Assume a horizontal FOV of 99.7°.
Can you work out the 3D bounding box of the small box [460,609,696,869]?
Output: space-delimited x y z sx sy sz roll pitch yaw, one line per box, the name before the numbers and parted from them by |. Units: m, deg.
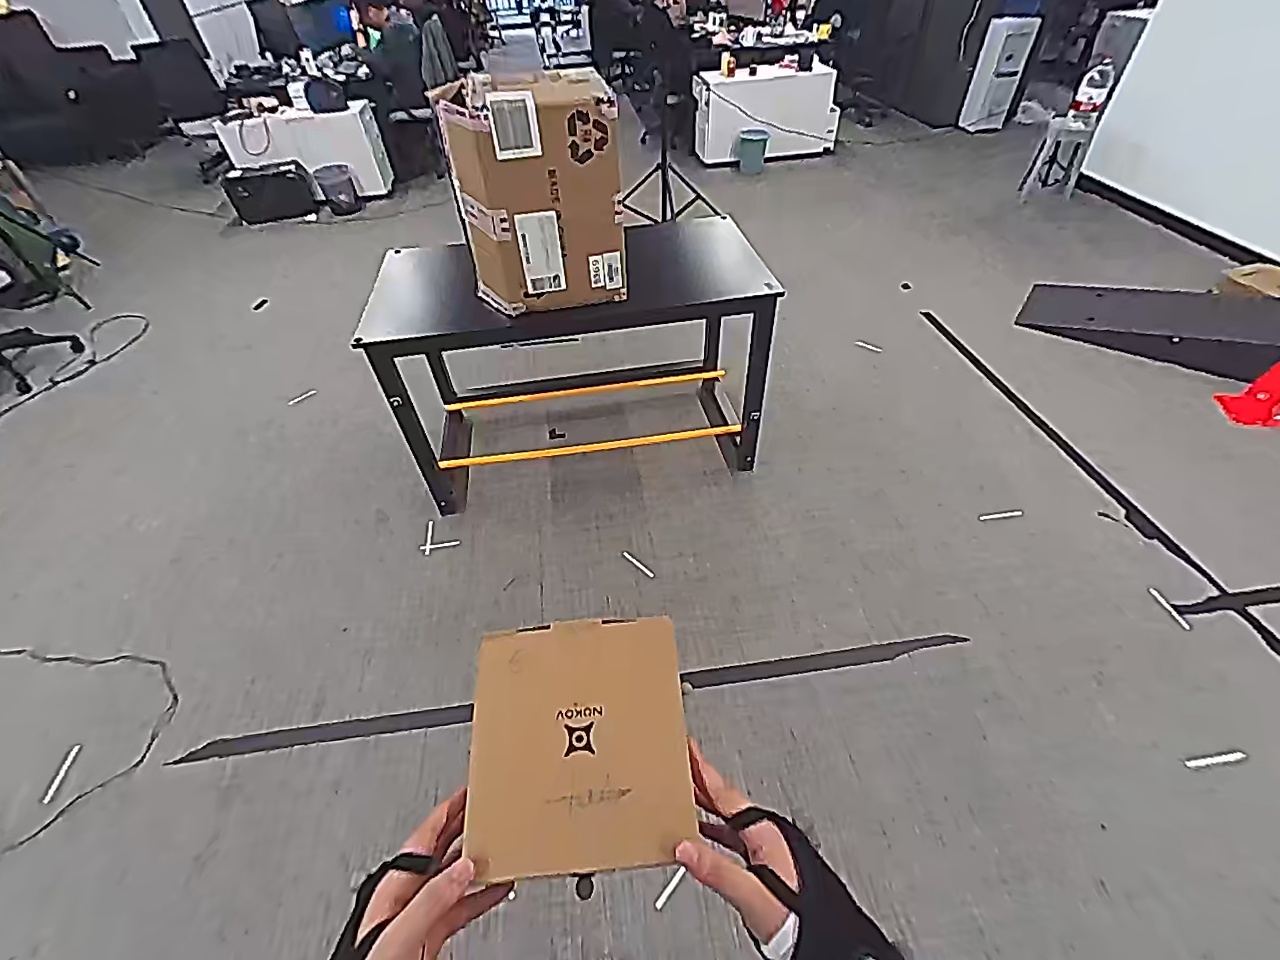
small box | -0.047 0.234 0.483 0.168 0.176 0.179 -5 55 -2
